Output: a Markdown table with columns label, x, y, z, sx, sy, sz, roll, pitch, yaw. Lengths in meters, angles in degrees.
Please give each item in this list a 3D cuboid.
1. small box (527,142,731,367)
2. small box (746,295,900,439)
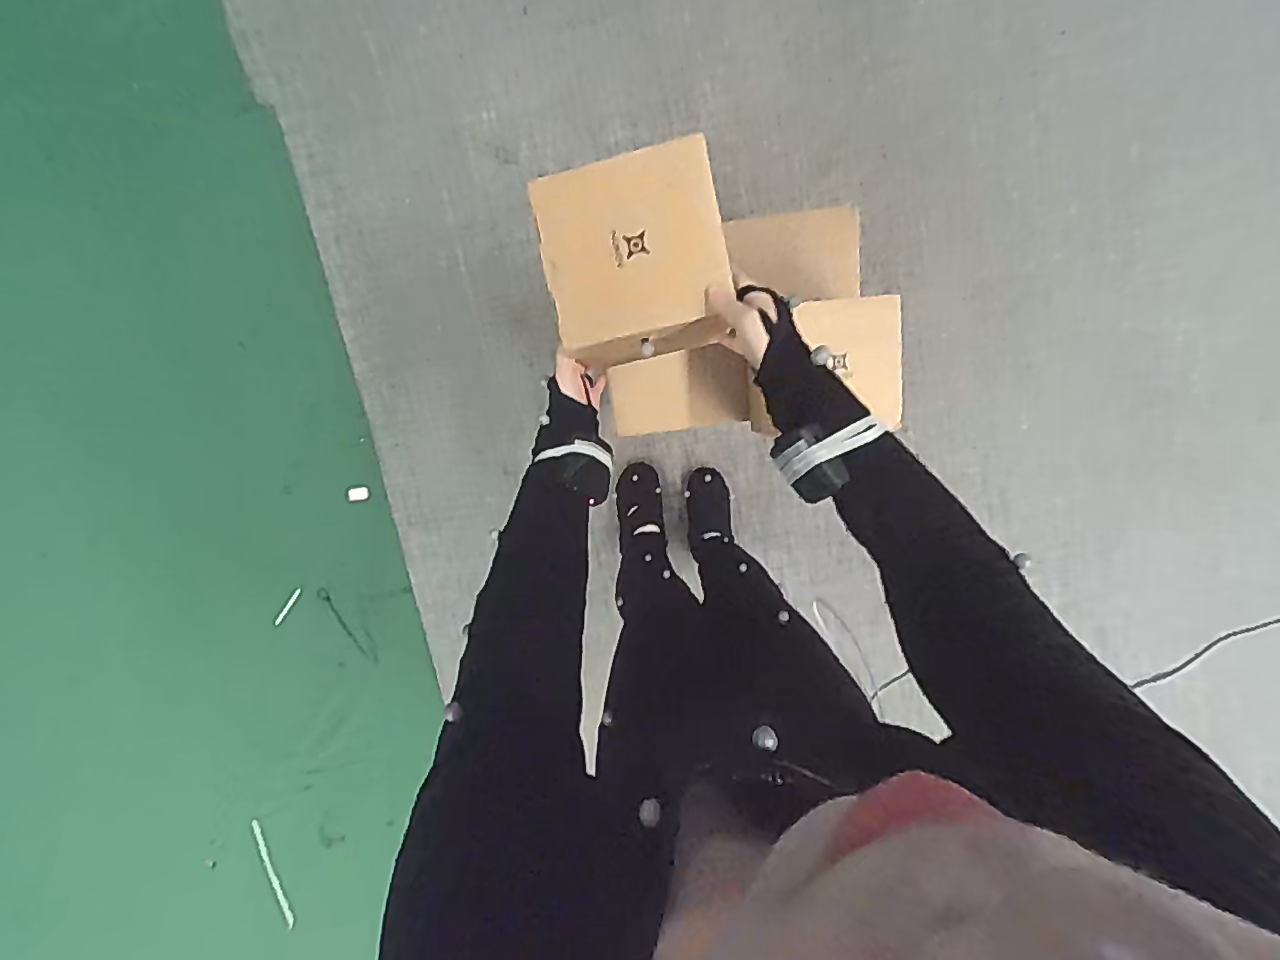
| label | x | y | z | sx | sy | sz | roll | pitch | yaw |
| --- | --- | --- | --- | --- | --- | --- | --- | --- | --- |
| small box | -0.002 | -0.231 | 0.603 | 0.179 | 0.176 | 0.168 | -12 | 93 | 9 |
| small box | 0.251 | -0.155 | 0.775 | 0.168 | 0.176 | 0.179 | -5 | 99 | 1 |
